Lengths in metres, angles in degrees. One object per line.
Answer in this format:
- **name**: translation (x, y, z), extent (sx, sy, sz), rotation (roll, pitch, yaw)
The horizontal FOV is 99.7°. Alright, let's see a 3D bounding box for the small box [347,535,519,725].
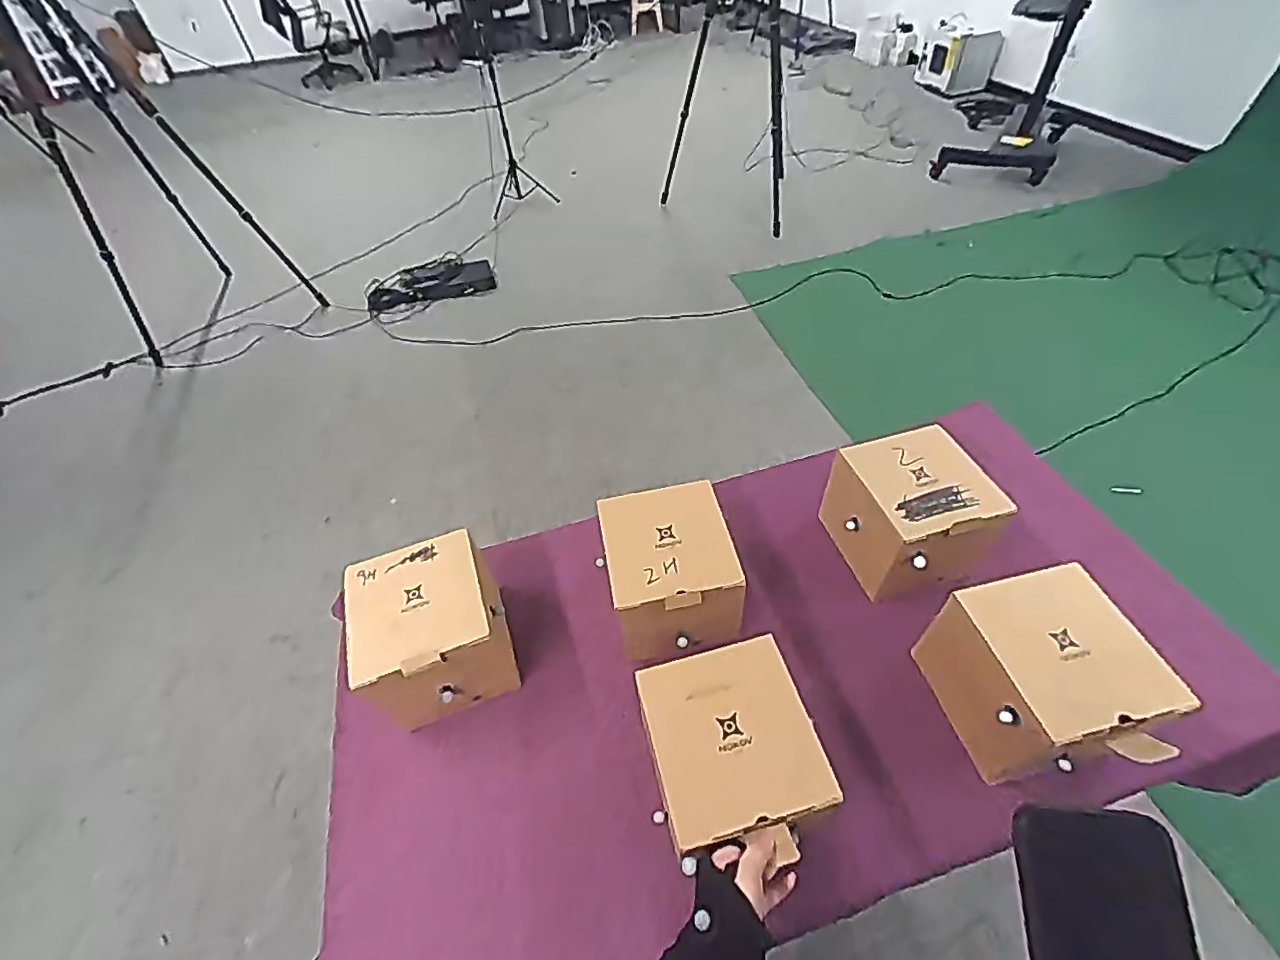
- **small box**: translation (-0.276, 0.212, 0.739), extent (0.168, 0.176, 0.179), rotation (-19, 51, -11)

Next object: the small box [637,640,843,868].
- **small box**: translation (0.101, 0.315, 0.613), extent (0.168, 0.176, 0.179), rotation (-14, 48, -7)

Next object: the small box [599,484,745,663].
- **small box**: translation (0.041, 0.135, 0.772), extent (0.168, 0.176, 0.179), rotation (-11, 50, -3)

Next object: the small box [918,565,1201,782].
- **small box**: translation (0.469, 0.231, 0.646), extent (0.168, 0.176, 0.179), rotation (-12, 50, -5)
